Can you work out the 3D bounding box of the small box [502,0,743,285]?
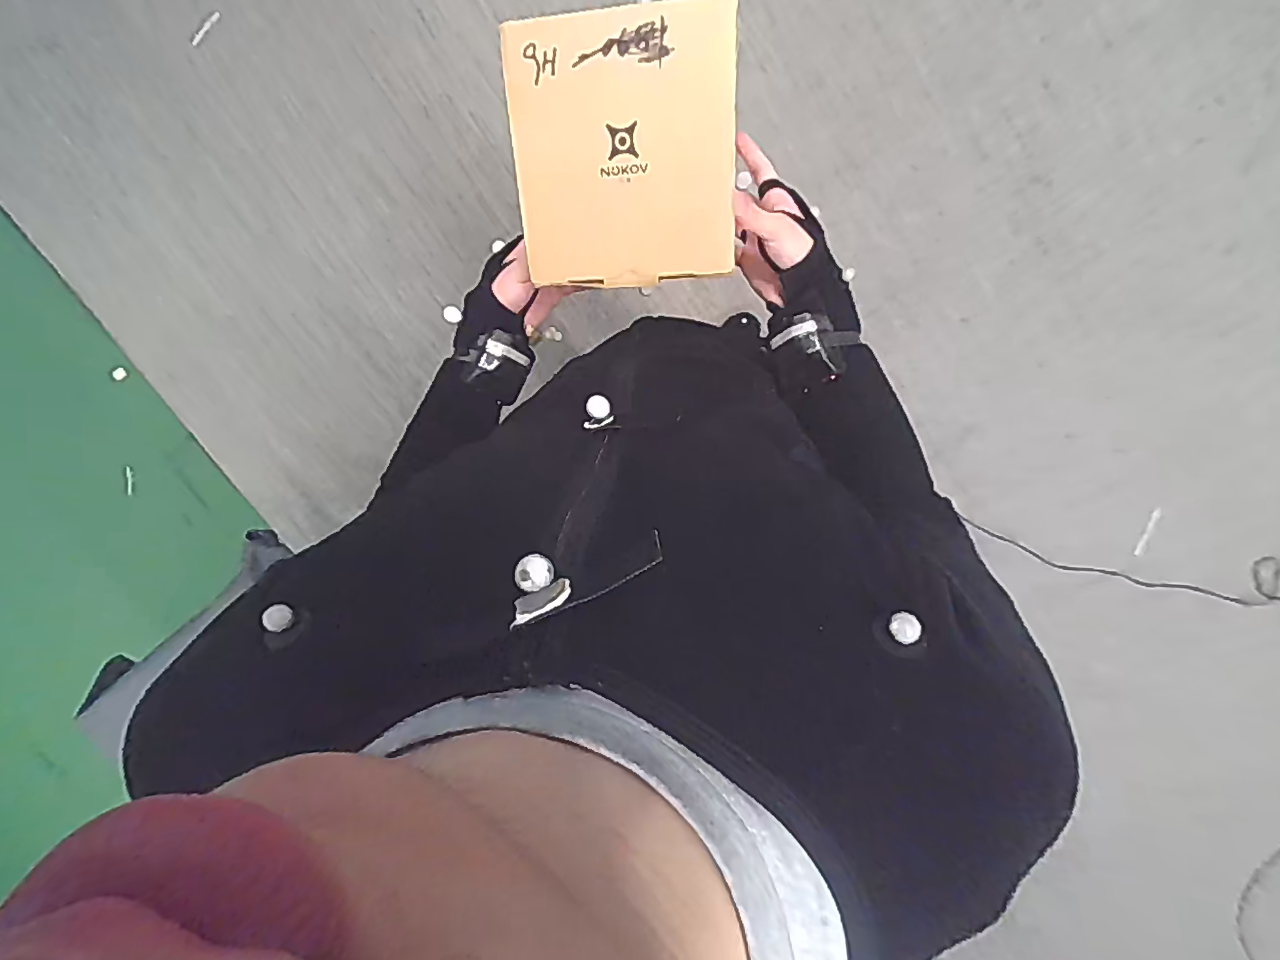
[{"bbox_3d":[0.000,-0.270,0.463,0.168,0.176,0.179,-1,114,7],"label":"small box"}]
